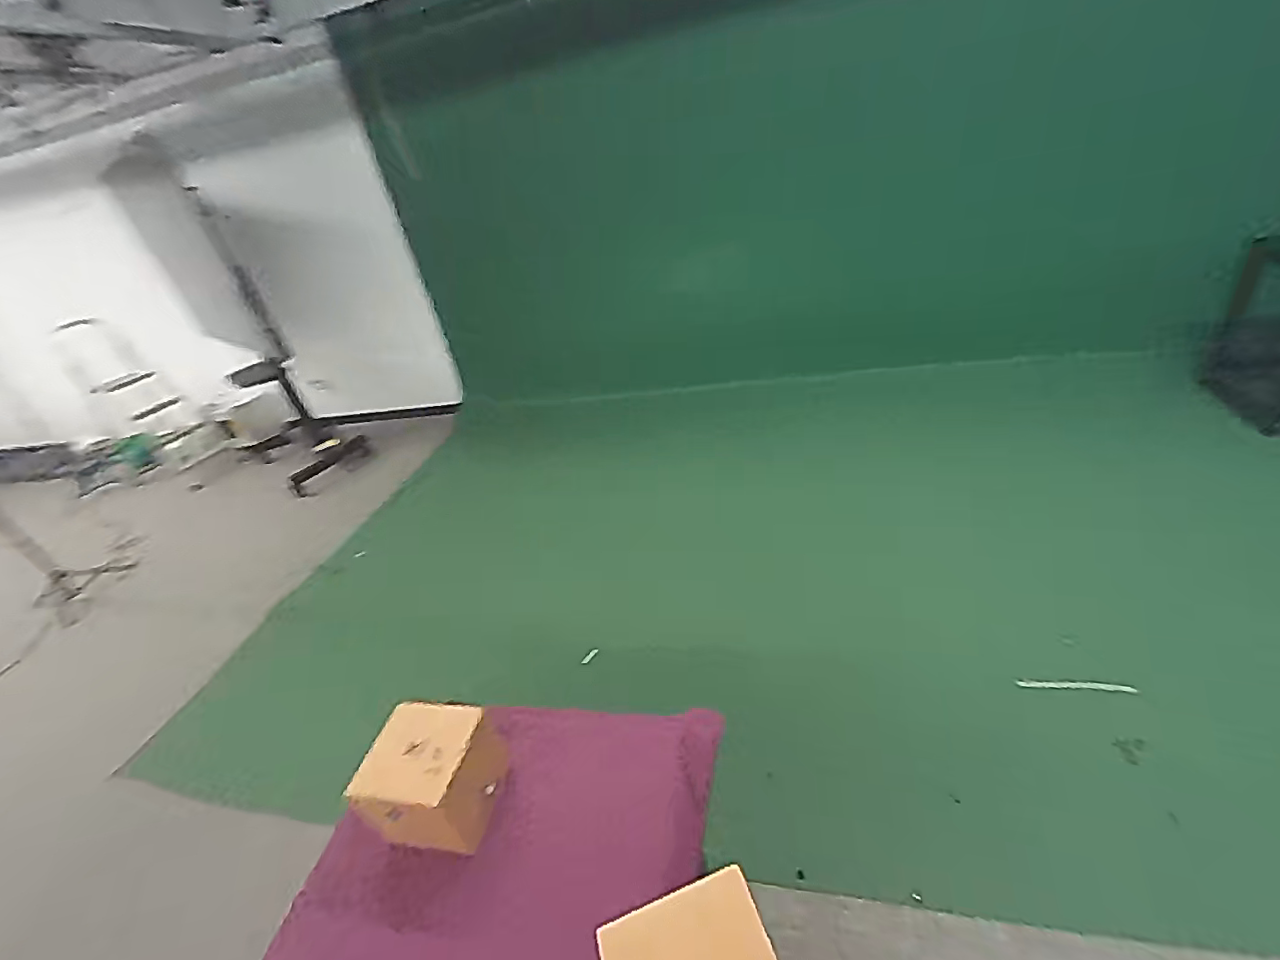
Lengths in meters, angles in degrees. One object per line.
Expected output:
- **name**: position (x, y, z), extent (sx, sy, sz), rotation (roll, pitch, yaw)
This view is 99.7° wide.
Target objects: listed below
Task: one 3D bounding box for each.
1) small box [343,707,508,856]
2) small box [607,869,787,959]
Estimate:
- **small box**: position (-0.358, 0.520, 0.938), extent (0.179, 0.176, 0.168), rotation (-2, 35, 15)
- **small box**: position (0.079, 0.548, 0.540), extent (0.168, 0.176, 0.179), rotation (-19, 31, -7)
